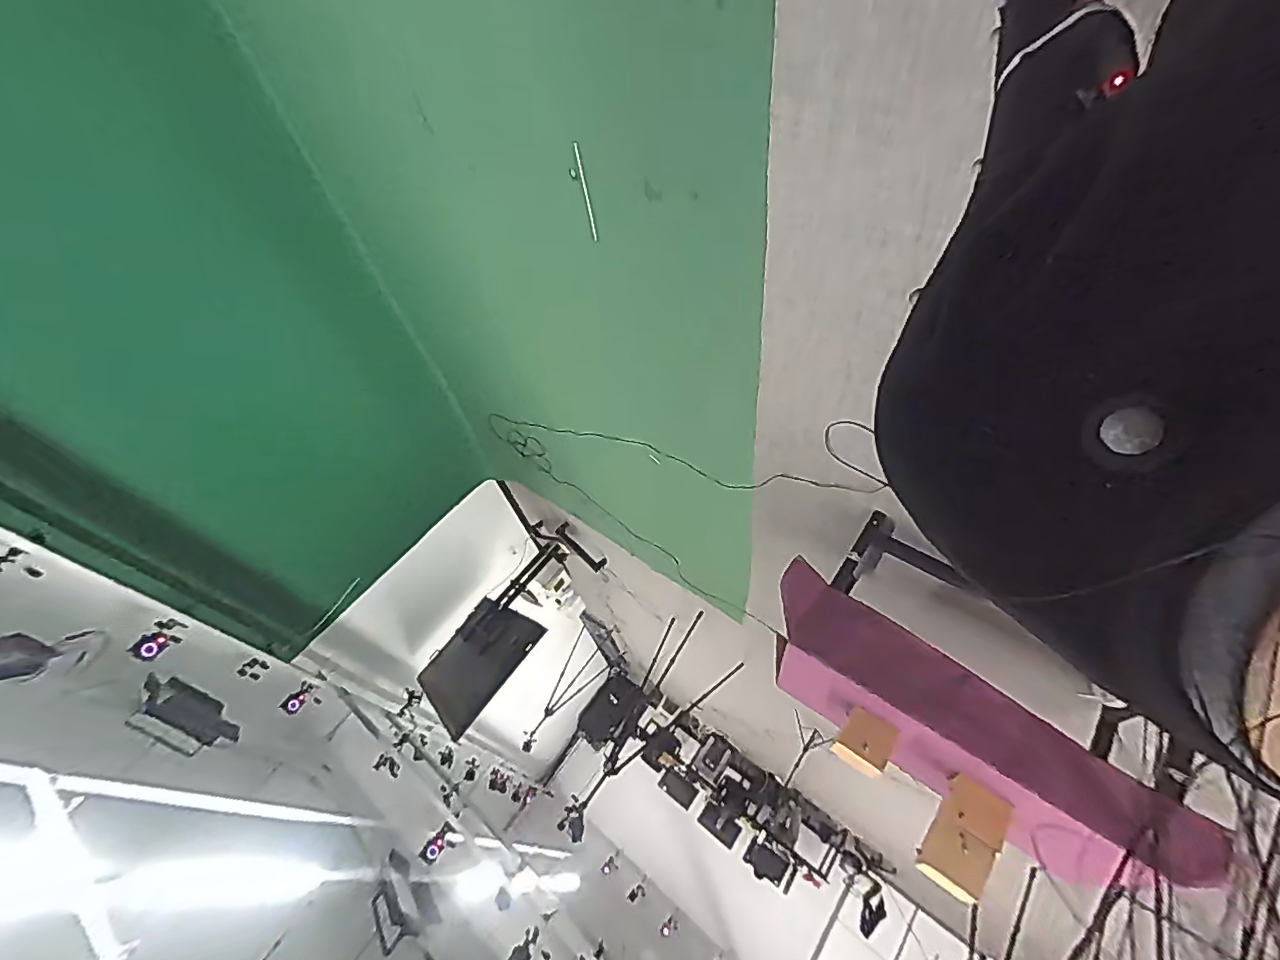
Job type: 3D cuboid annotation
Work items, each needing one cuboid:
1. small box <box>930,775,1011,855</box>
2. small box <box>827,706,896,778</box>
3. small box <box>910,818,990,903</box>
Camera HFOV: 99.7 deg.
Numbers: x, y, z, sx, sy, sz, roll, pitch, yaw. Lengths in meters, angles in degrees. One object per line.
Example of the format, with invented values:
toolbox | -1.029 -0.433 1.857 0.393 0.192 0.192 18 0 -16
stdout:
small box | 1.154 1.169 1.887 0.179 0.176 0.168 29 154 28
small box | 0.845 0.995 2.058 0.179 0.176 0.168 31 154 25
small box | 1.048 1.282 1.828 0.168 0.176 0.179 28 153 28
